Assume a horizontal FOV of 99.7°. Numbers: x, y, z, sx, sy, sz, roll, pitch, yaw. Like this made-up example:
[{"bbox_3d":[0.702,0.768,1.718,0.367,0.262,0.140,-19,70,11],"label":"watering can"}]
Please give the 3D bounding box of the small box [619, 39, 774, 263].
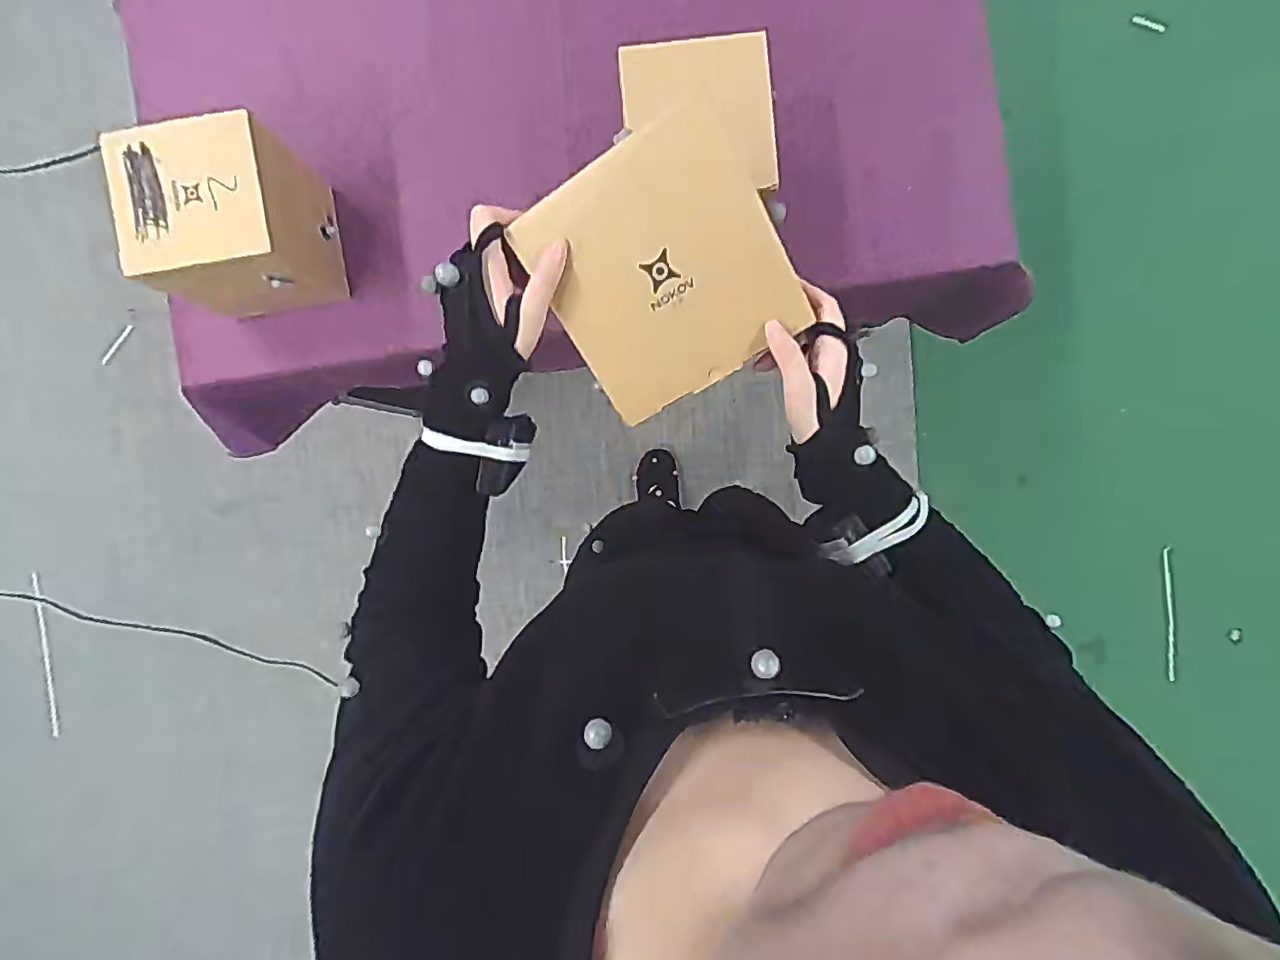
[{"bbox_3d":[0.063,-0.397,0.679,0.168,0.176,0.179,-5,92,2],"label":"small box"}]
